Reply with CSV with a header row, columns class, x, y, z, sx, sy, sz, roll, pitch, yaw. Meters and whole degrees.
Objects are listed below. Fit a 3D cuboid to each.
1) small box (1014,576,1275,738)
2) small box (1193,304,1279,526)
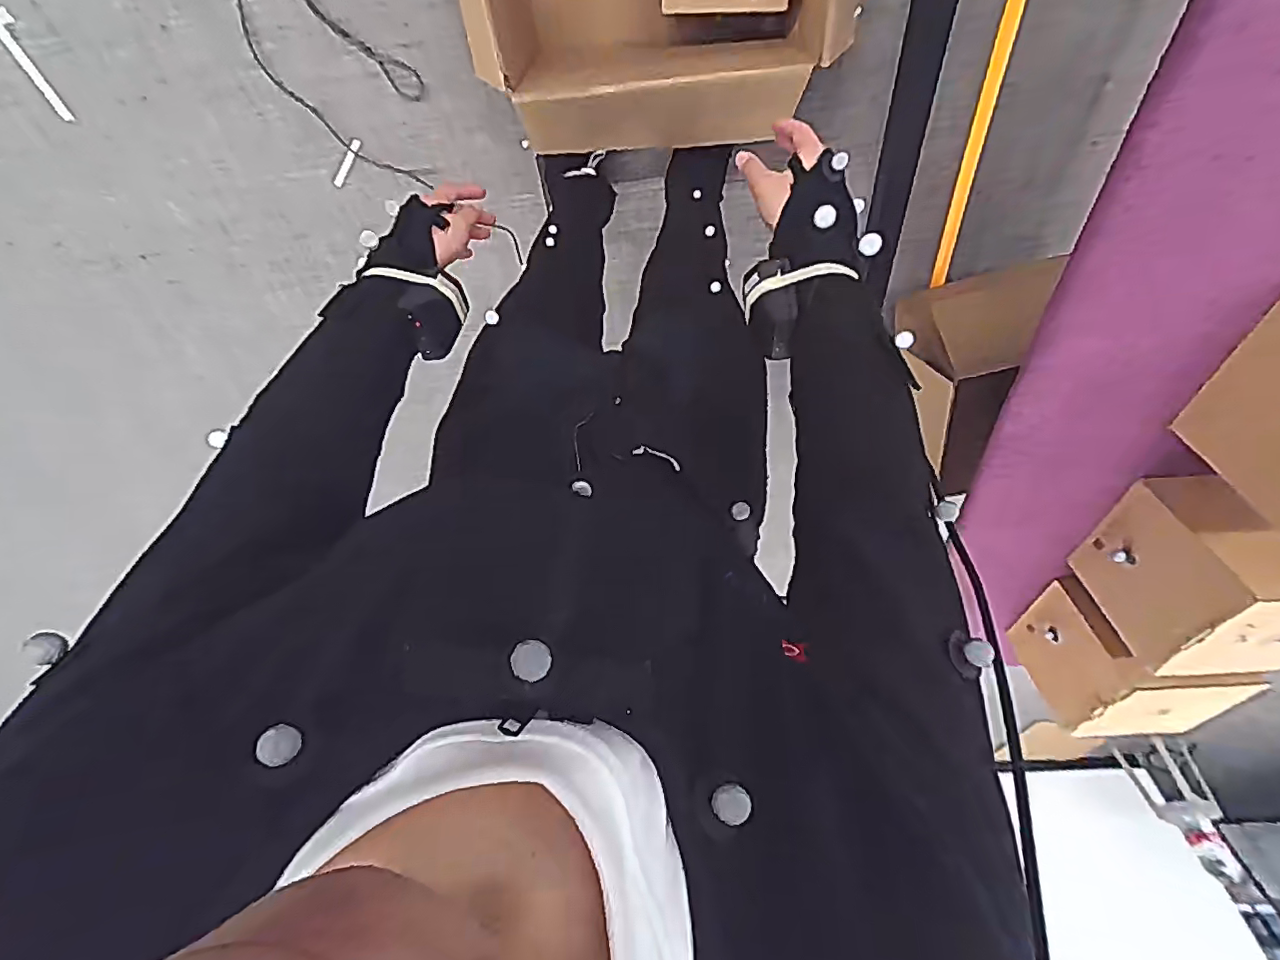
class,x,y,z,sx,sy,sz,roll,pitch,yaw
small box,0.693,0.250,0.773,0.179,0.176,0.168,-3,136,1
small box,0.636,-0.063,0.448,0.168,0.176,0.179,-2,135,2
